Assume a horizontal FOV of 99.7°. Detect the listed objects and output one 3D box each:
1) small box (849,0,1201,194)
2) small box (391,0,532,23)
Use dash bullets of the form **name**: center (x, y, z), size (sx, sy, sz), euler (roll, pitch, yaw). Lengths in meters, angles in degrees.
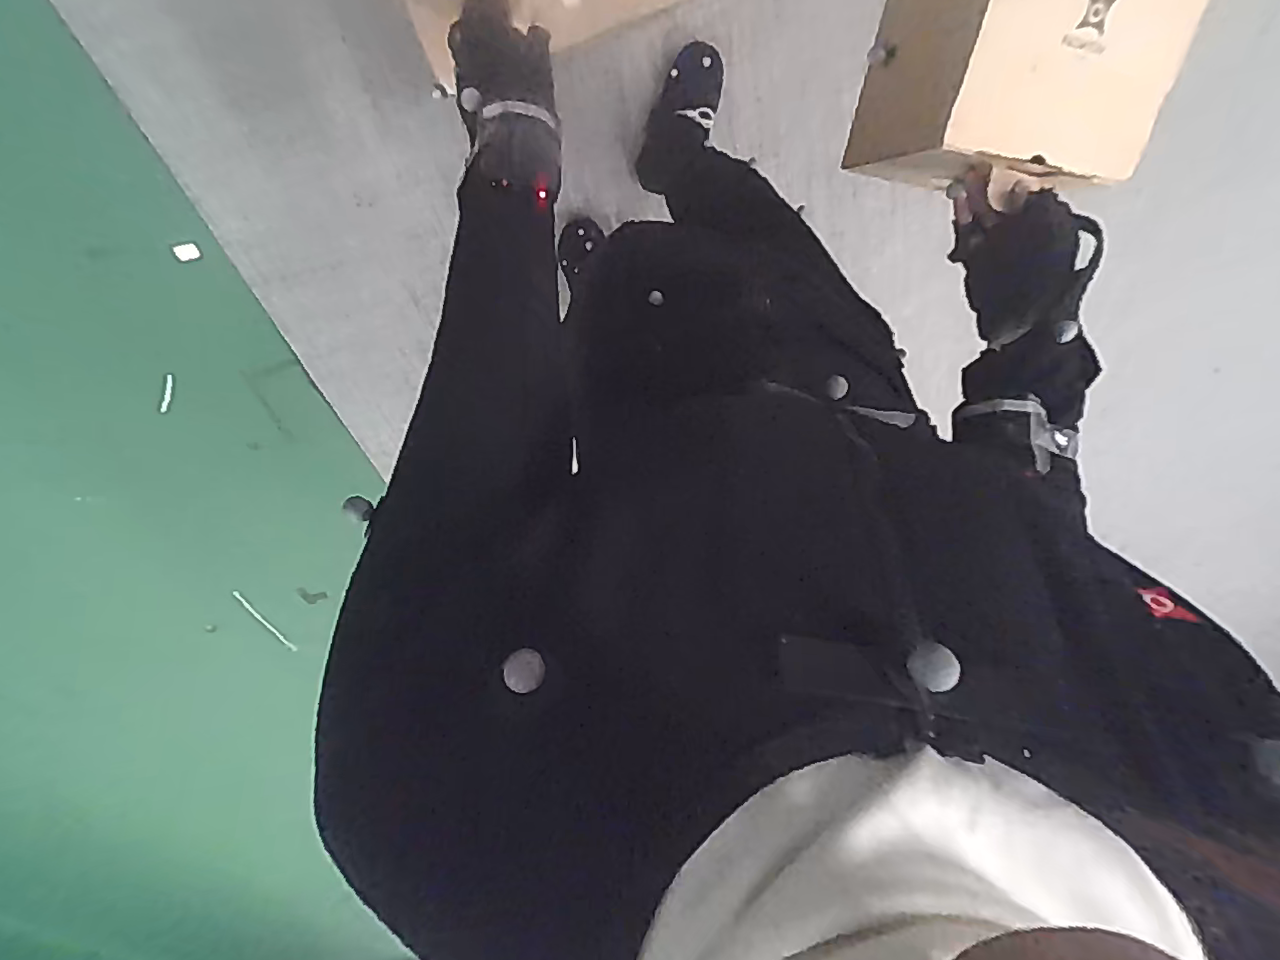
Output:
- **small box**: center (0.305, -0.354, 0.460), size (0.168, 0.176, 0.179), euler (6, 114, -10)
- **small box**: center (-0.142, -0.511, 0.445), size (0.168, 0.176, 0.179), euler (-13, 122, 8)
